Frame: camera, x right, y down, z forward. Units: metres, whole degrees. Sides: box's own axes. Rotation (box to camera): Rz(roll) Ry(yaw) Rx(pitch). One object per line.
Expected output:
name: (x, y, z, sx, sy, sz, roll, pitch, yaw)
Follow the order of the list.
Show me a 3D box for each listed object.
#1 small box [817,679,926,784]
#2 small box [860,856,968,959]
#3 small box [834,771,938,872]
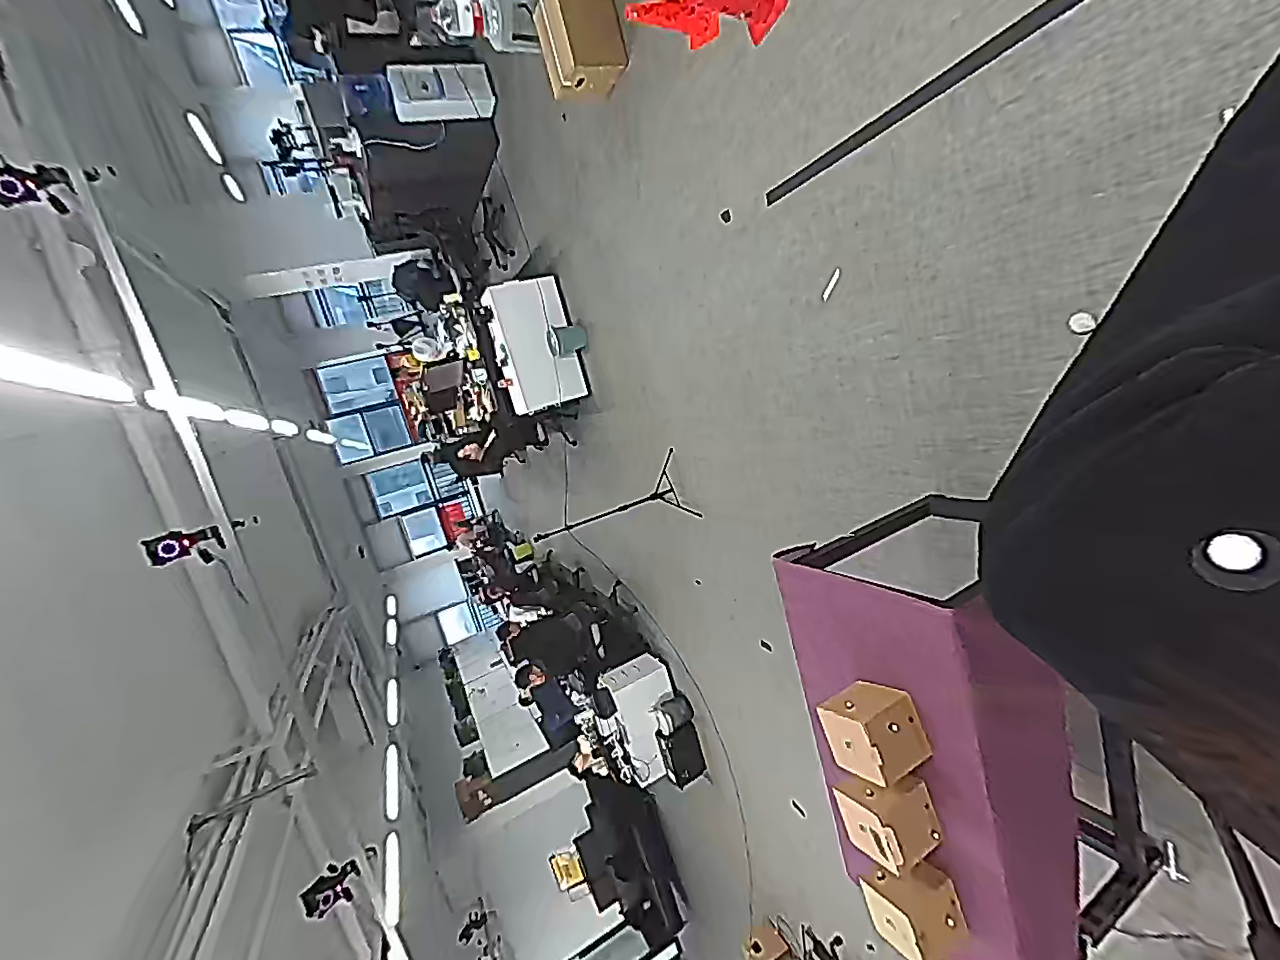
small box: (0.601, 0.637, 1.394, 0.179, 0.176, 0.168, -24, 86, 68)
small box: (0.747, 1.155, 1.478, 0.179, 0.176, 0.168, -13, 96, 67)
small box: (0.664, 0.885, 1.450, 0.179, 0.176, 0.168, -18, 92, 68)
